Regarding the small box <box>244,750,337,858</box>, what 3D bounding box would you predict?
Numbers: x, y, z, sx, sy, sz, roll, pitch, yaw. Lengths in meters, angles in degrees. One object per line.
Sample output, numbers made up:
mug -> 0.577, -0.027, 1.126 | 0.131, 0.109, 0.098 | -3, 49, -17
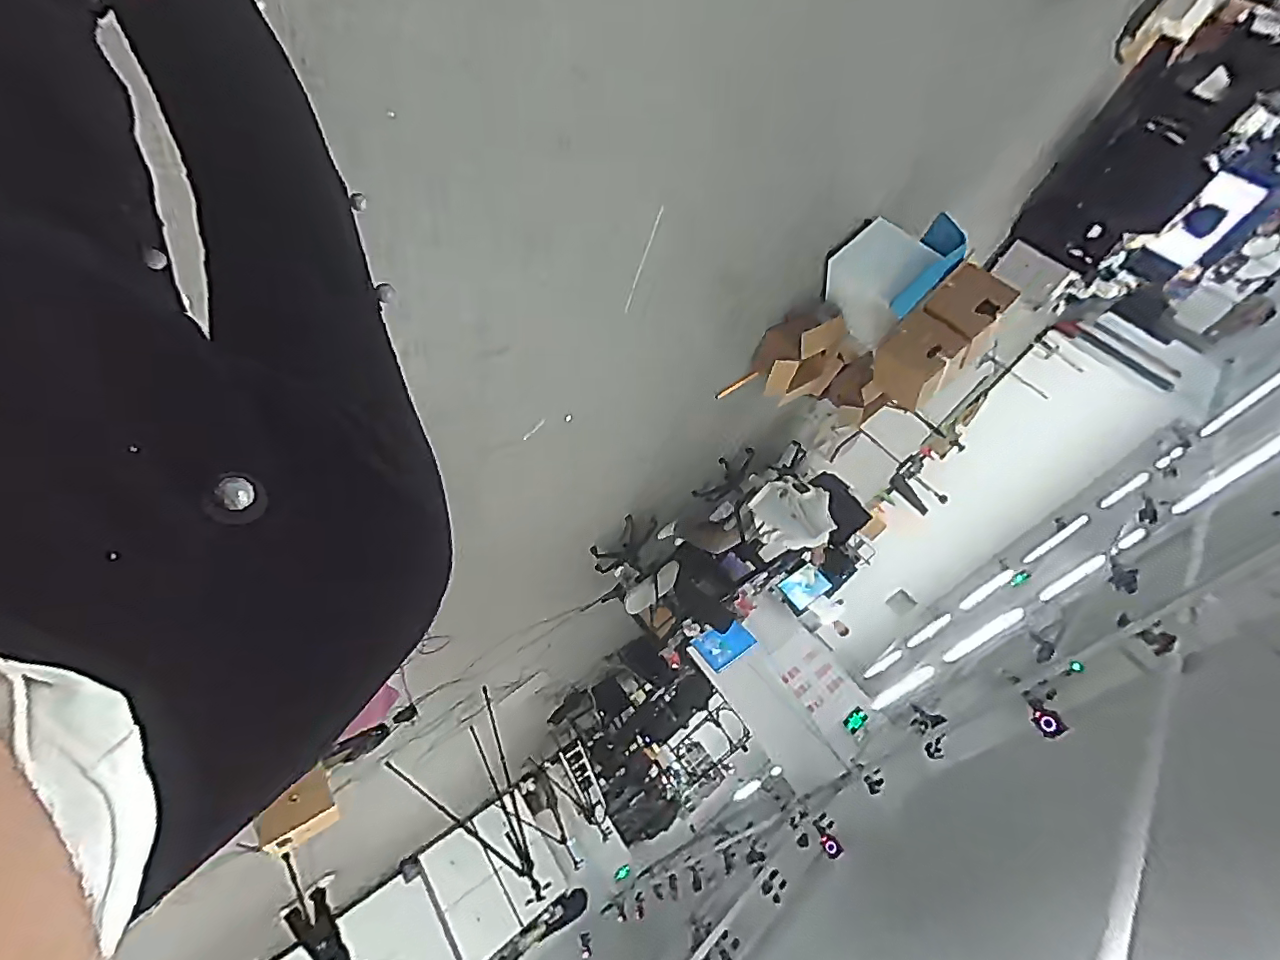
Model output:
small box -> -0.962, 0.887, 1.488 | 0.179, 0.176, 0.168 | -22, 150, -38
